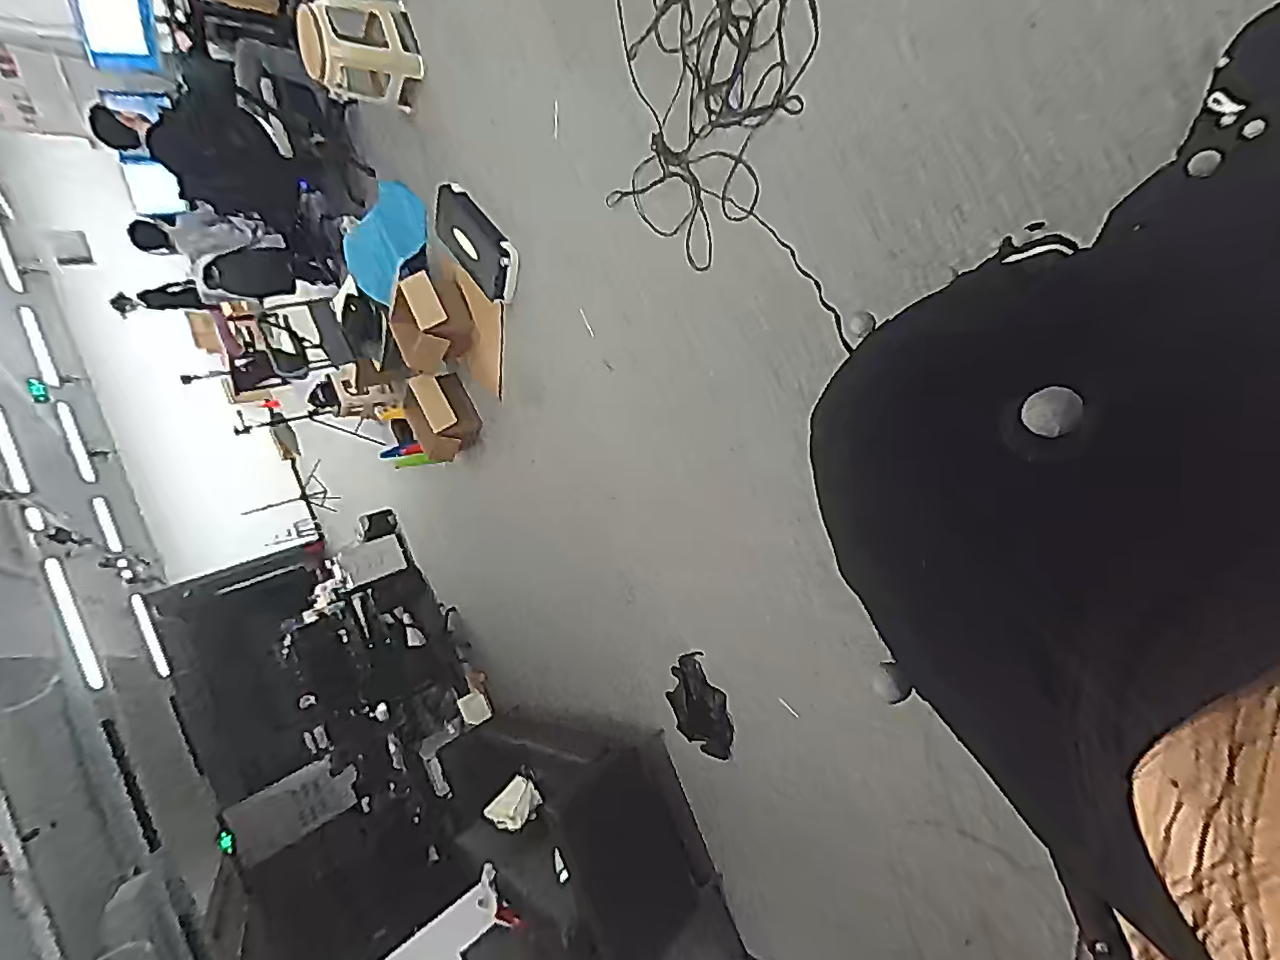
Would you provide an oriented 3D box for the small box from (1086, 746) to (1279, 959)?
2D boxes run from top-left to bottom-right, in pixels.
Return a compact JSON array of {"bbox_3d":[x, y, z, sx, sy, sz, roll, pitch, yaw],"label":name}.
[{"bbox_3d":[0.644,0.426,0.598,0.168,0.176,0.179,-27,86,54],"label":"small box"}]
